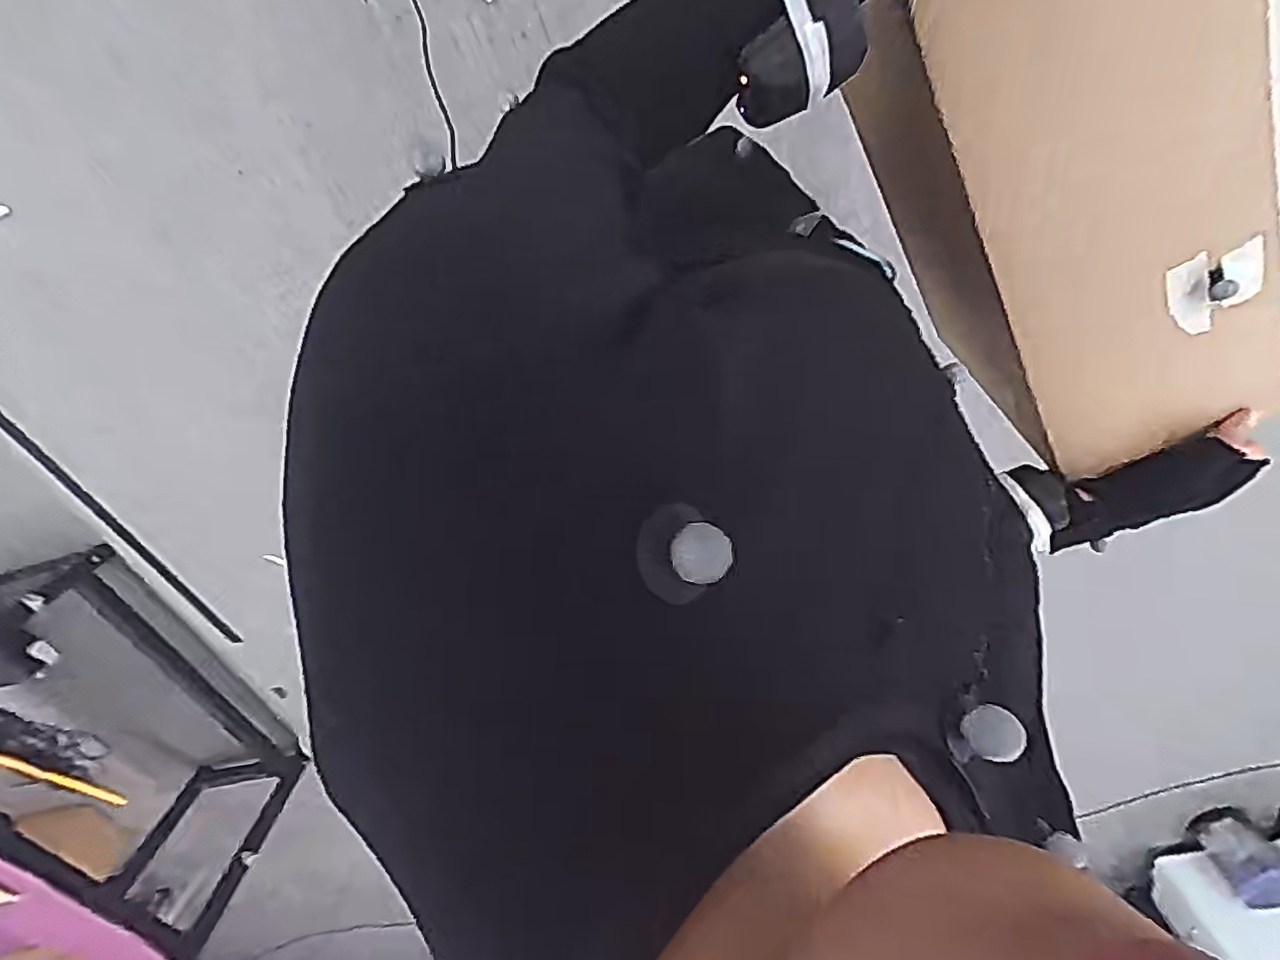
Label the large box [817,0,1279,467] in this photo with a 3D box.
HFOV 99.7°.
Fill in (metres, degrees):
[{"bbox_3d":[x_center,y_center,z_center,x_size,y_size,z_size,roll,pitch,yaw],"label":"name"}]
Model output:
[{"bbox_3d":[0.392,-0.295,0.441,0.320,0.320,0.408,-26,122,26],"label":"large box"}]
